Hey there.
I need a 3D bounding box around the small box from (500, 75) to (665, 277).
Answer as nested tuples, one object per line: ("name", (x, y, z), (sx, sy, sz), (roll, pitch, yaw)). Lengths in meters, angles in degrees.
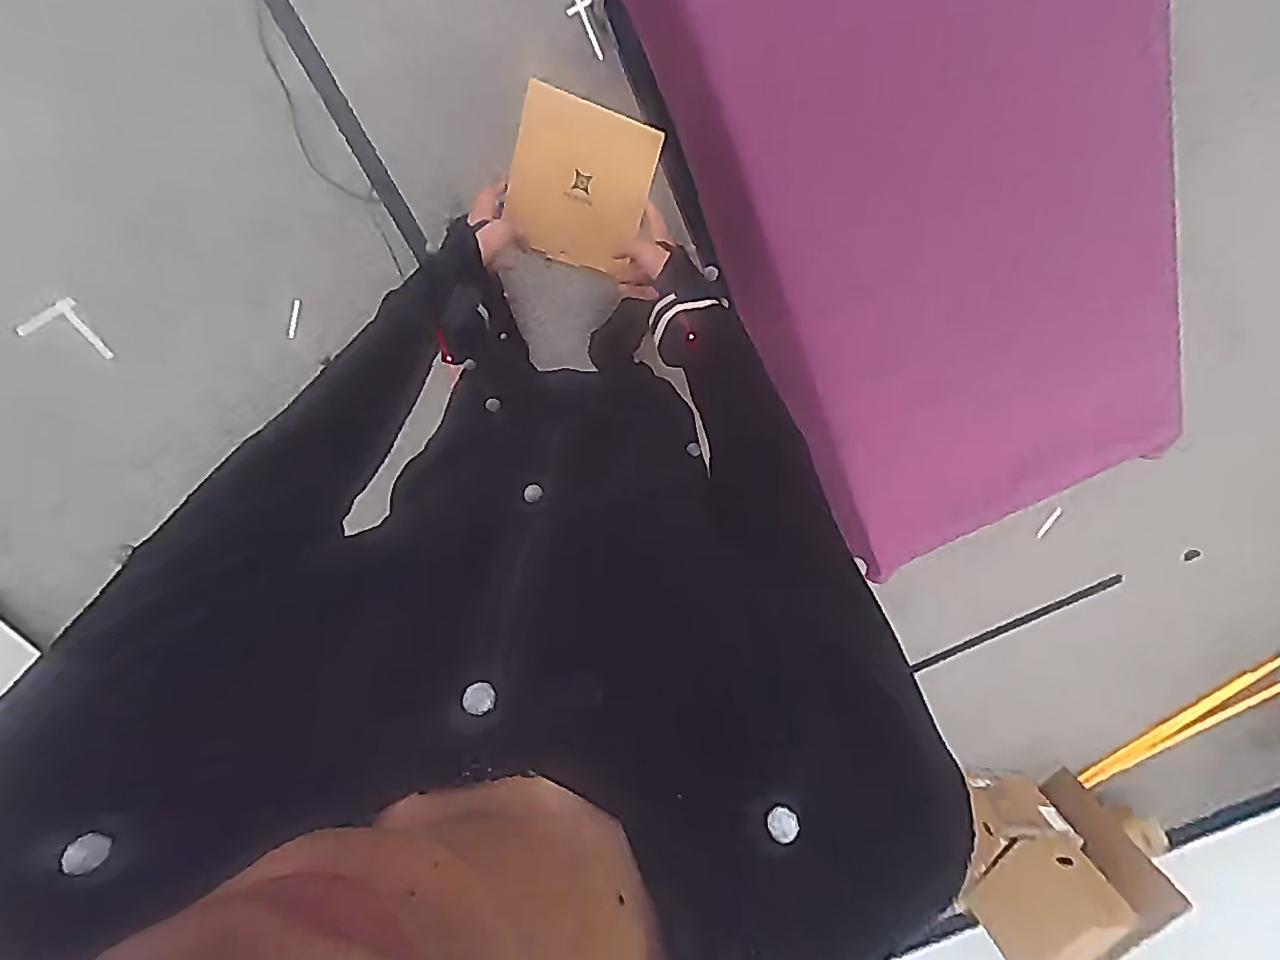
("small box", (-0.086, -0.384, 0.718), (0.168, 0.176, 0.179), (12, 109, -17))
